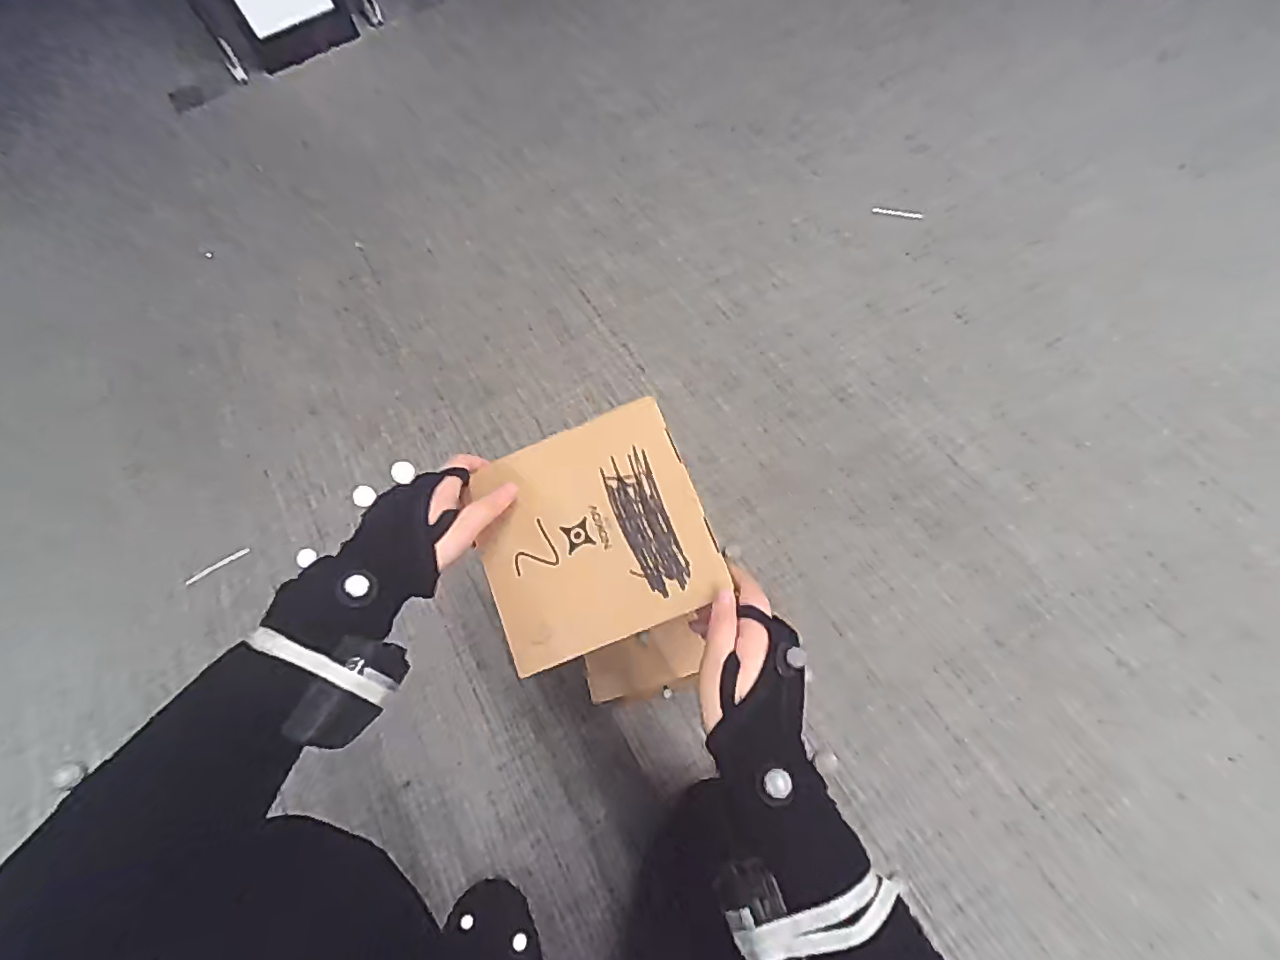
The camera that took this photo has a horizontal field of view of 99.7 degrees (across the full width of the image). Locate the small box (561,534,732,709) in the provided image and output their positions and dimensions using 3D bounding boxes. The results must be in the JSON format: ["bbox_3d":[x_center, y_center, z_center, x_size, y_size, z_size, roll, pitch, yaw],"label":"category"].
[{"bbox_3d":[0.010,0.194,0.713,0.179,0.176,0.168,-15,64,-3],"label":"small box"}]
